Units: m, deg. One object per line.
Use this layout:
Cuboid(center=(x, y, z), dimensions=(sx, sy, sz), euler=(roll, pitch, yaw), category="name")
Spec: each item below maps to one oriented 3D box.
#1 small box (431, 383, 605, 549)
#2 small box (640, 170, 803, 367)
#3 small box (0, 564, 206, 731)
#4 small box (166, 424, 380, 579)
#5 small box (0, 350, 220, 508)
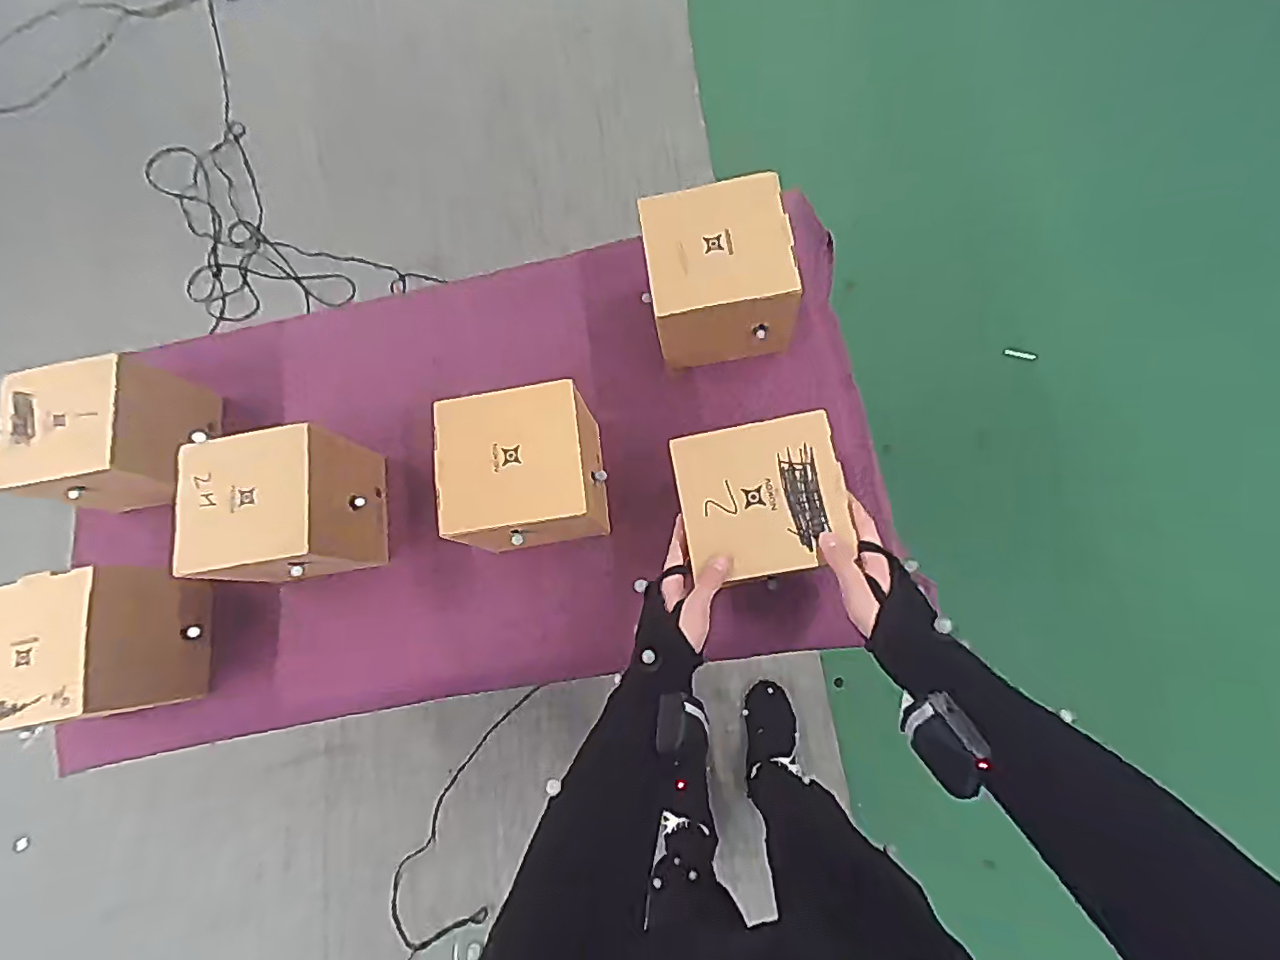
Cuboid(center=(-0.145, -0.008, 0.695), dimensions=(0.179, 0.176, 0.168), euler=(-8, 77, 5), category="small box")
Cuboid(center=(0.102, -0.266, 0.717), dimensions=(0.179, 0.176, 0.168), euler=(-8, 78, 6), category="small box")
Cuboid(center=(-0.715, 0.218, 0.707), dimensions=(0.168, 0.176, 0.179), euler=(-11, 75, 4), category="small box")
Cuboid(center=(-0.469, 0.038, 0.719), dimensions=(0.179, 0.176, 0.168), euler=(-9, 76, 5), category="small box")
Cuboid(center=(-0.756, -0.062, 0.775), dimensions=(0.179, 0.176, 0.168), euler=(-9, 77, 4), category="small box")
